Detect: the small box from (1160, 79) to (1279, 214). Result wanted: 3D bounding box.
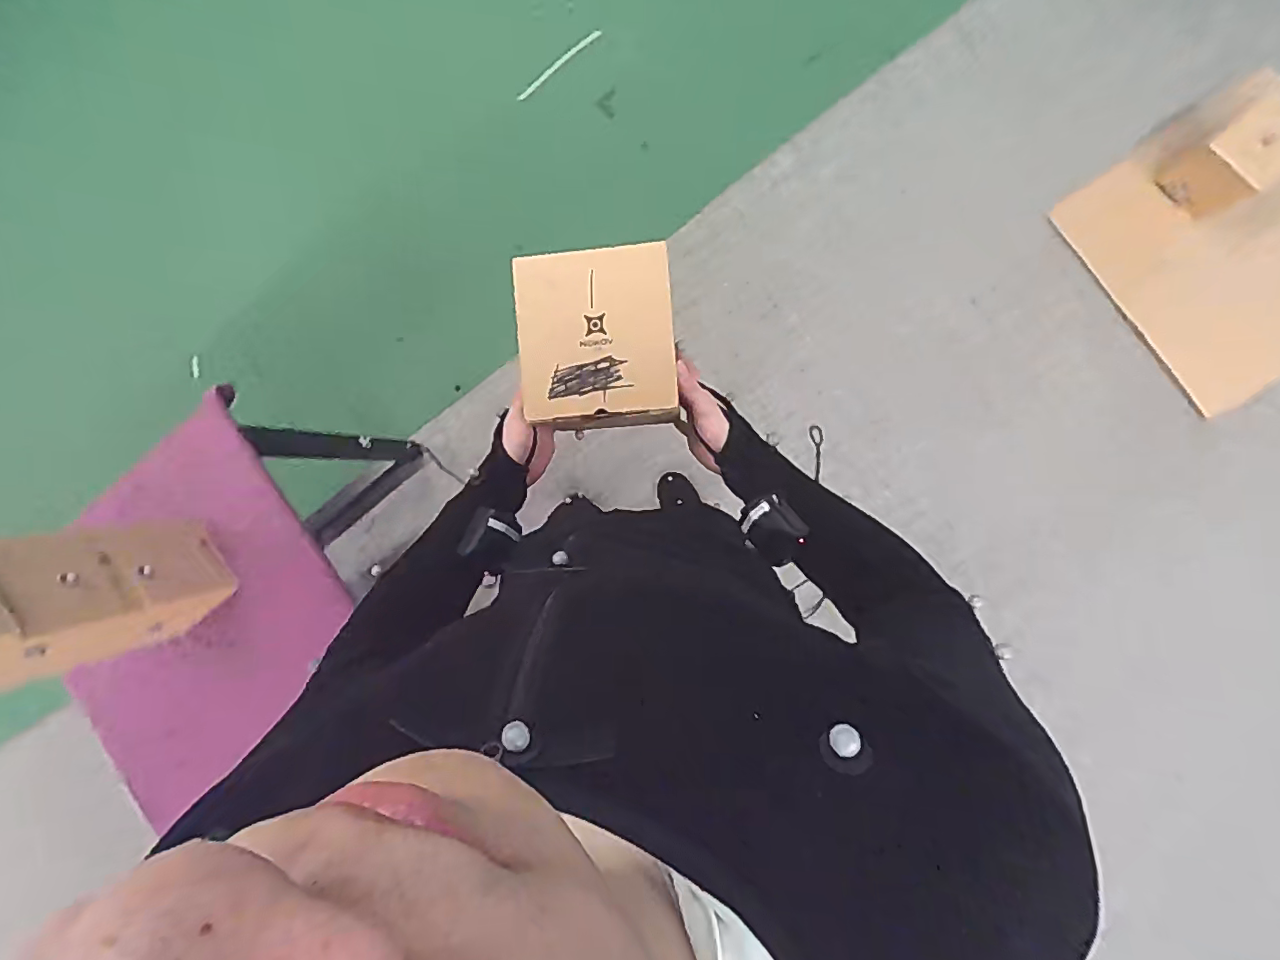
[{"bbox_3d":[1.430,-0.786,1.294,0.179,0.176,0.168,-41,85,8],"label":"small box"}]

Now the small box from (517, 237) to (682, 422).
[{"bbox_3d":[-0.036,-0.160,0.635,0.168,0.176,0.179,-3,92,5],"label":"small box"}]

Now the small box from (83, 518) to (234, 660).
[{"bbox_3d":[-0.902,0.188,0.982,0.179,0.176,0.168,-38,86,10],"label":"small box"}]

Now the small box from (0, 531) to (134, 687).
[{"bbox_3d":[-0.931,0.194,0.820,0.179,0.176,0.168,-36,85,10],"label":"small box"}]
